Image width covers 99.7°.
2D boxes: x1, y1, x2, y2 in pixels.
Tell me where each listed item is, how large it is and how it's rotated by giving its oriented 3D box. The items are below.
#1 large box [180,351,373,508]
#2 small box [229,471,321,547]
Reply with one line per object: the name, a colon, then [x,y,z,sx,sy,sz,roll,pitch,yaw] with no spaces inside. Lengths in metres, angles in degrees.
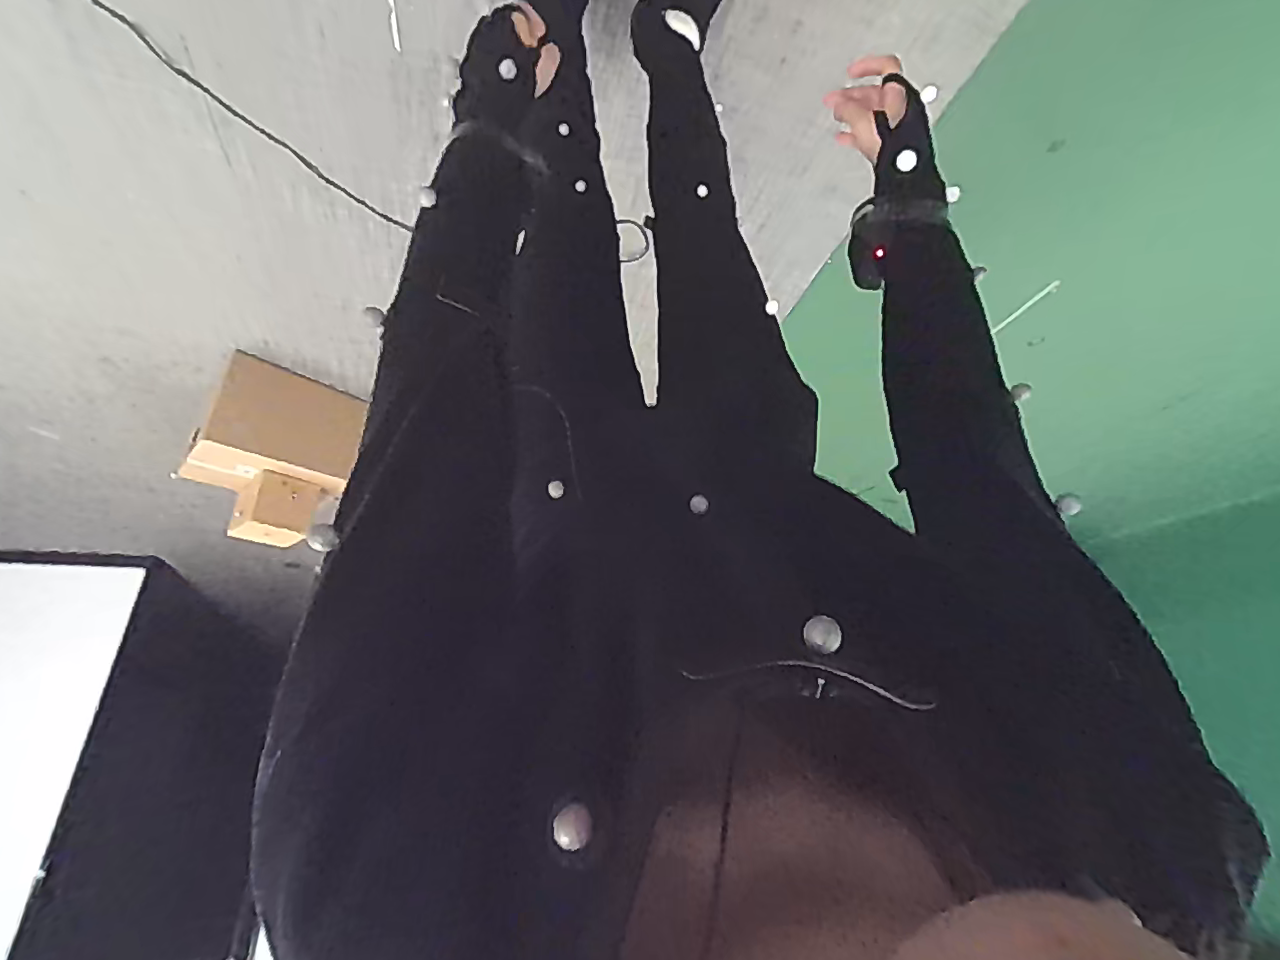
large box: [-1.147,-0.143,1.738,0.320,0.320,0.408,-24,145,36]
small box: [-1.117,0.092,1.665,0.179,0.176,0.168,-20,149,33]
